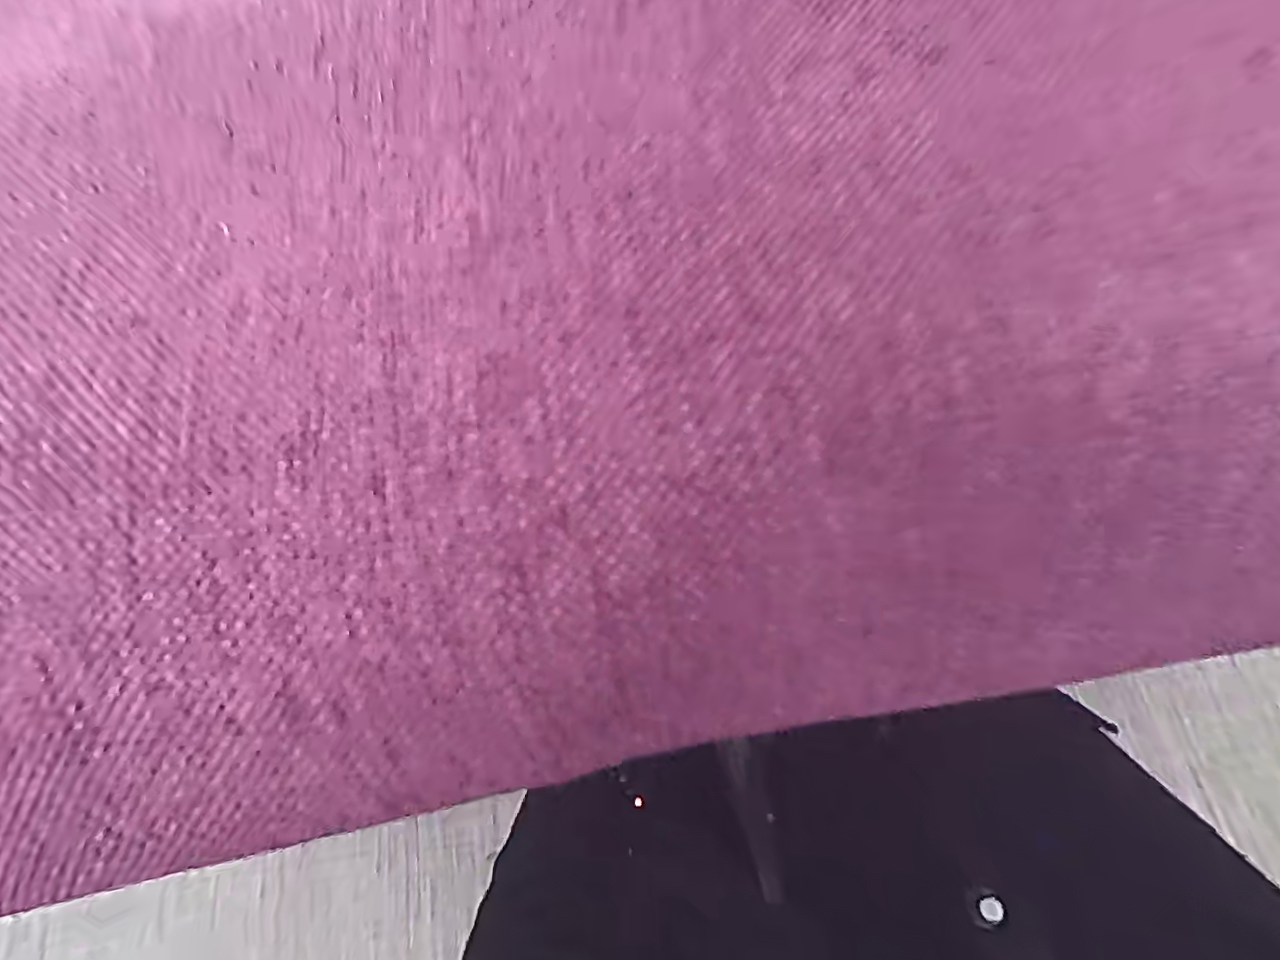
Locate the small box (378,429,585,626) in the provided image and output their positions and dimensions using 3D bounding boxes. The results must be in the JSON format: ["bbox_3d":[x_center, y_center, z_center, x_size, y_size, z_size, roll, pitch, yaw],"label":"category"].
[{"bbox_3d":[-0.166,0.064,0.618,0.179,0.176,0.168,-15,73,-2],"label":"small box"}]
